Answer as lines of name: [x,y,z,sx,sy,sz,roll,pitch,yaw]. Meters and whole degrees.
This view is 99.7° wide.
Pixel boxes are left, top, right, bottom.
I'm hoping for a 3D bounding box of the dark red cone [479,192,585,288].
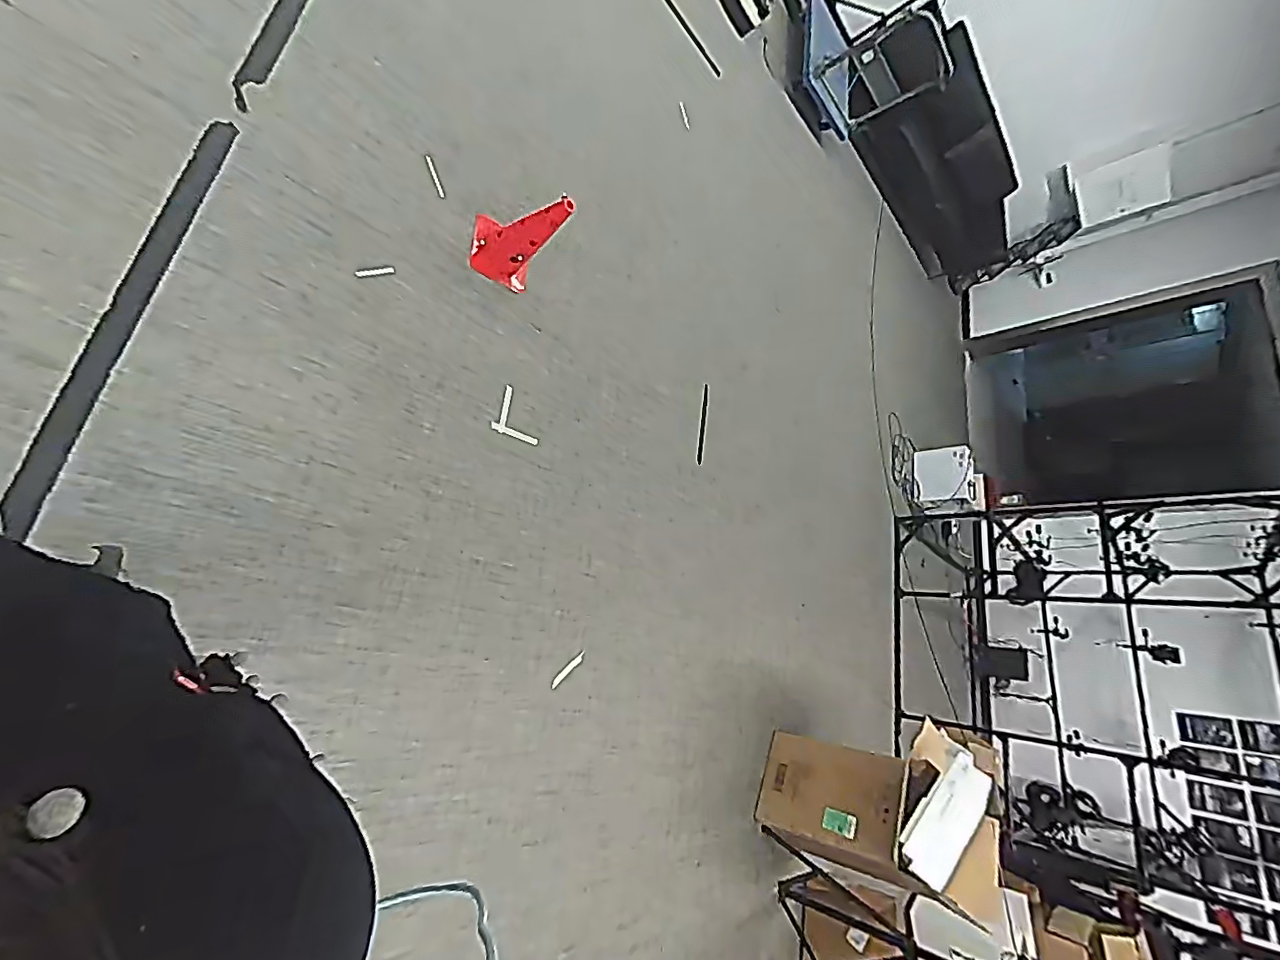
dark red cone: [-0.300,-0.745,1.601,0.201,0.394,0.202,16,73,-44]
